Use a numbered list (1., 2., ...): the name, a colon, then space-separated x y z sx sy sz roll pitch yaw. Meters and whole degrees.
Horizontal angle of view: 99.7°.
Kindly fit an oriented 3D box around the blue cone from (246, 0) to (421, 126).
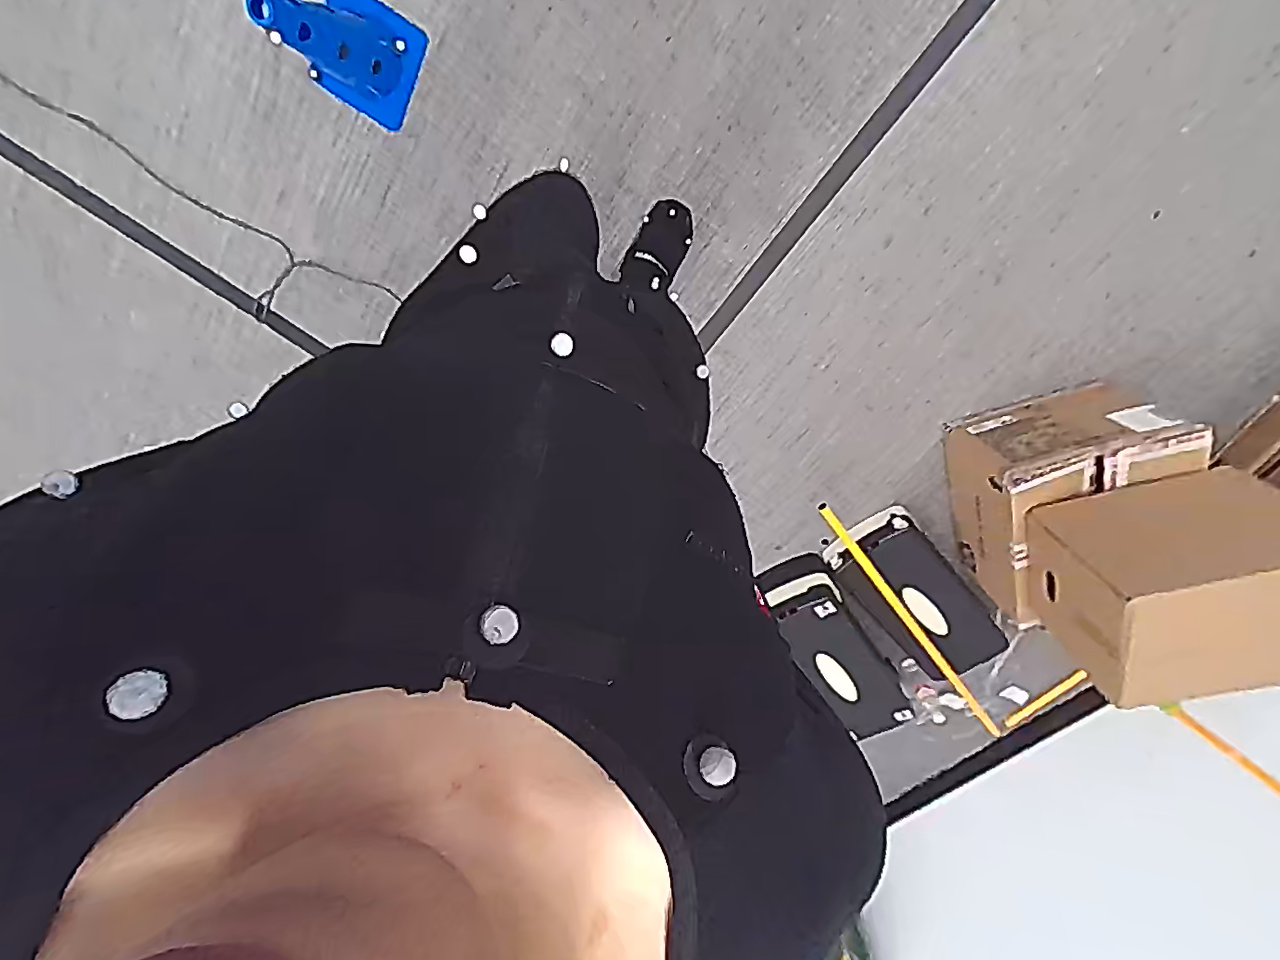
1. blue cone: -0.561 -0.780 0.961 0.193 0.380 0.192 29 116 -14
